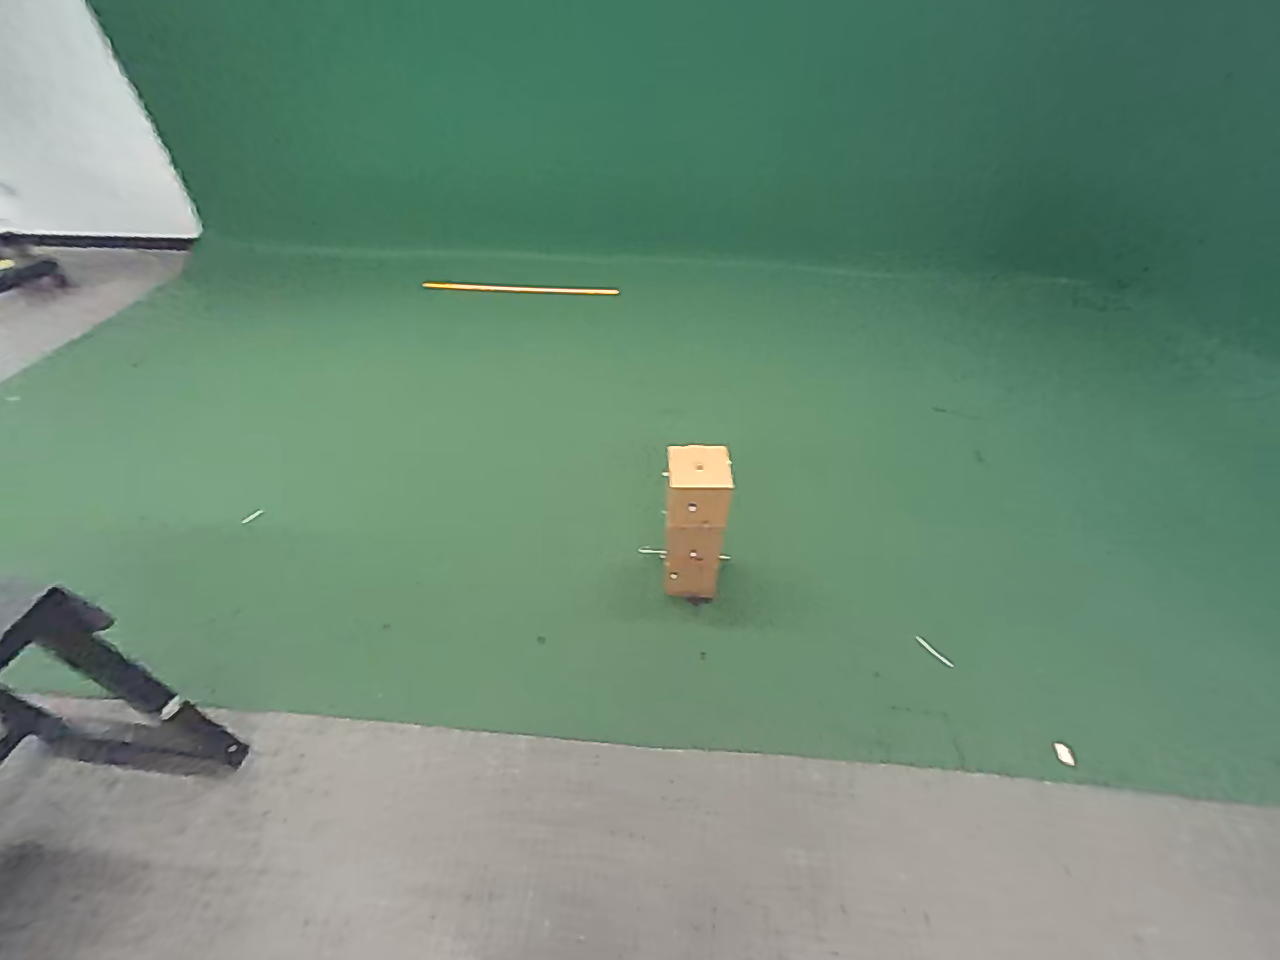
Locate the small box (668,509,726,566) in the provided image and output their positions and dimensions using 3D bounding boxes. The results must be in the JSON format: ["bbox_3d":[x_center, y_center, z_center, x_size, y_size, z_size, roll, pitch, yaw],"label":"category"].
[{"bbox_3d":[0.172,0.144,1.673,0.168,0.176,0.179,1,43,2],"label":"small box"}]

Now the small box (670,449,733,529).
[{"bbox_3d":[0.172,0.028,1.559,0.168,0.176,0.179,0,43,0],"label":"small box"}]
